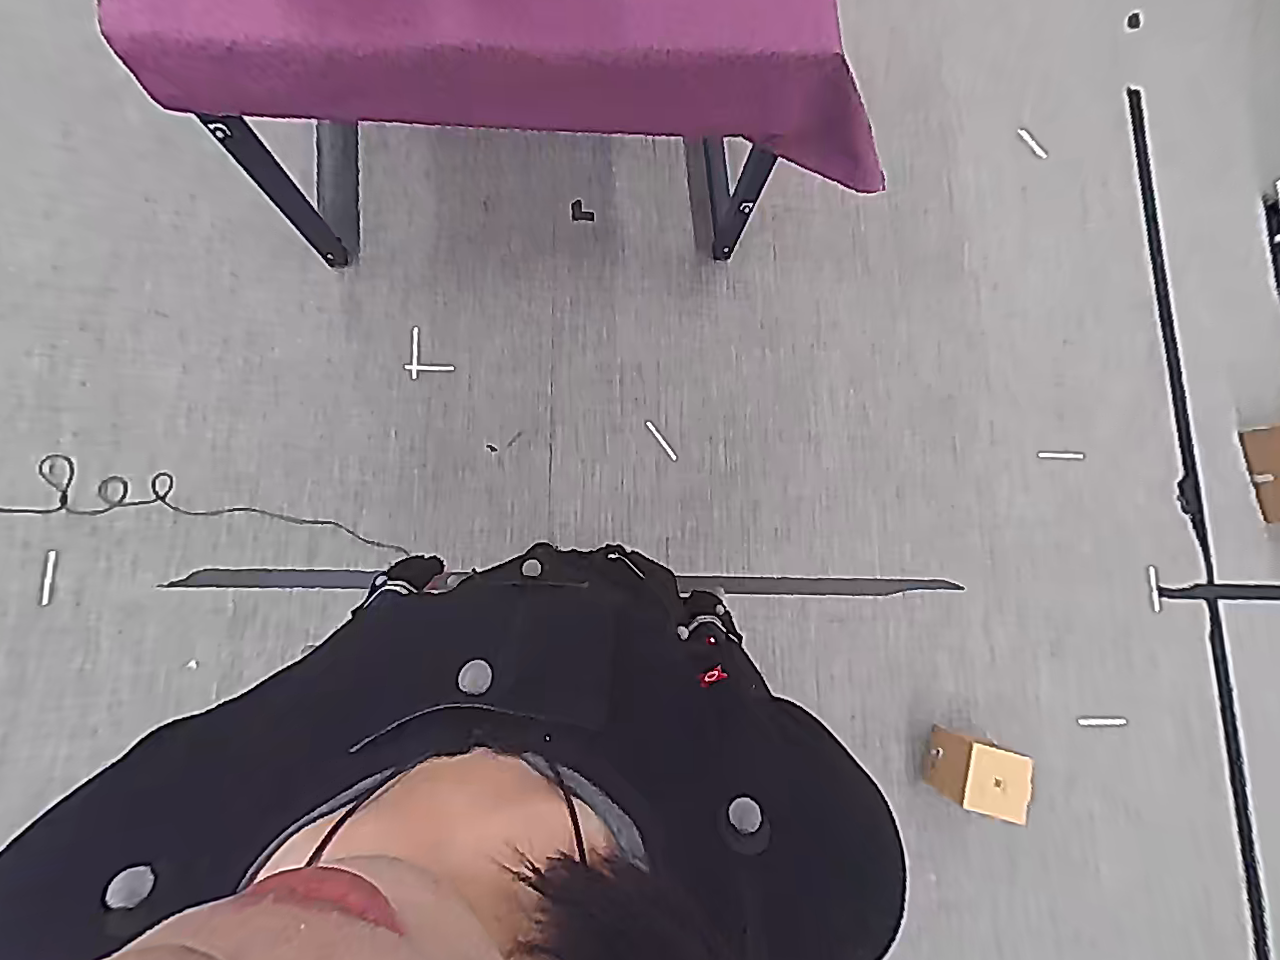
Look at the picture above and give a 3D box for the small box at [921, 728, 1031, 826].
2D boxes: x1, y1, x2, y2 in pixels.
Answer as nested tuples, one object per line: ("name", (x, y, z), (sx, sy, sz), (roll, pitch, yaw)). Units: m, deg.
("small box", (0.905, 0.795, 1.466), (0.179, 0.176, 0.168), (16, 80, -2))
